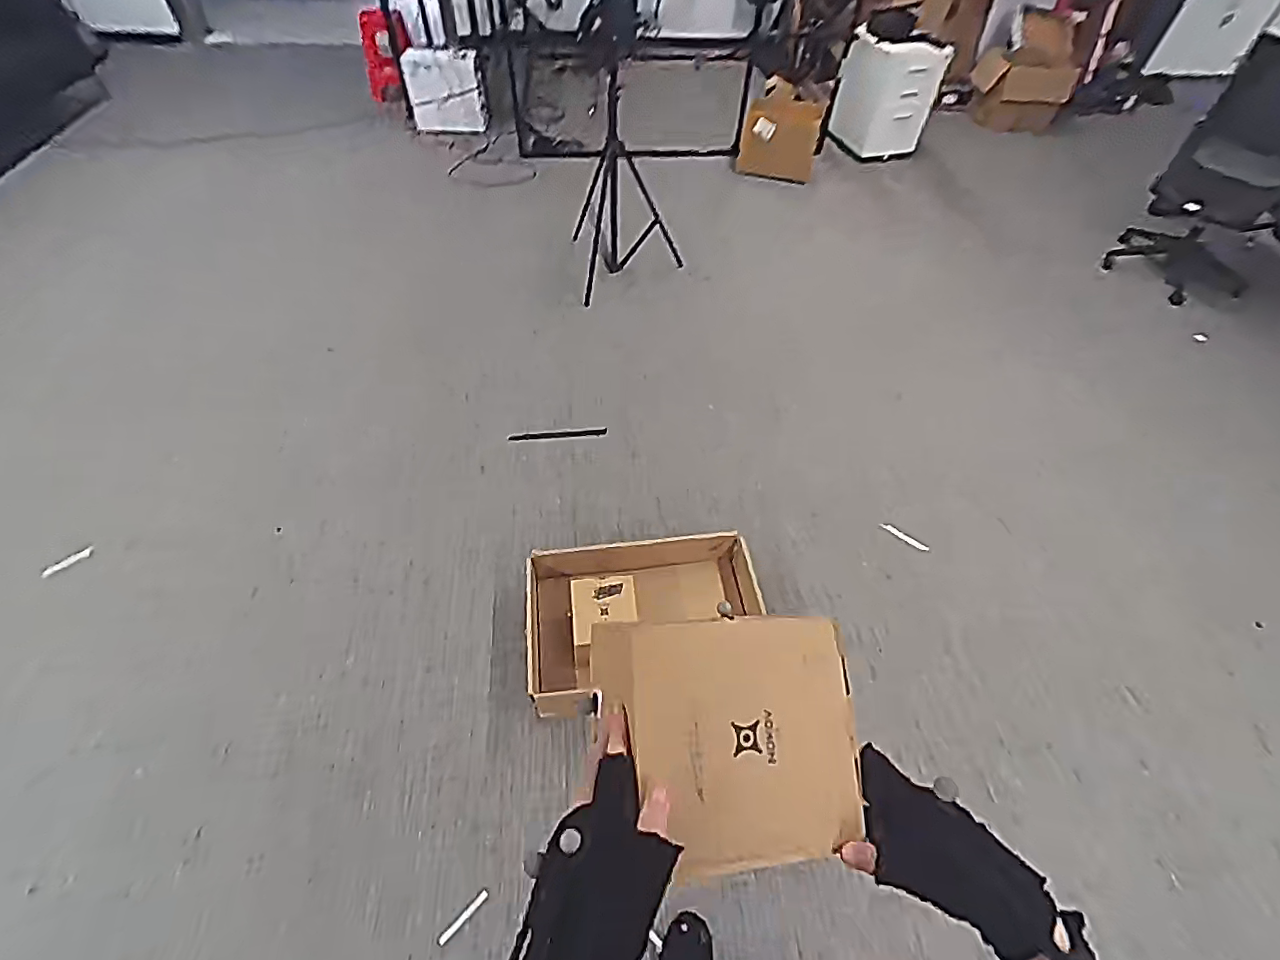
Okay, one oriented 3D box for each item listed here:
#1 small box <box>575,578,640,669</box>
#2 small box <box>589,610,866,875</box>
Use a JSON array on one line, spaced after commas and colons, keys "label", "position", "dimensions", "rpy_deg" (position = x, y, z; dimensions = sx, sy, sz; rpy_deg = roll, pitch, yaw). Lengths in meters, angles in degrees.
[{"label": "small box", "position": [-0.088, 0.382, 1.436], "dimensions": [0.168, 0.176, 0.179], "rpy_deg": [-4, 53, -6]}, {"label": "small box", "position": [0.059, 0.200, 0.467], "dimensions": [0.179, 0.176, 0.168], "rpy_deg": [1, 74, -16]}]
